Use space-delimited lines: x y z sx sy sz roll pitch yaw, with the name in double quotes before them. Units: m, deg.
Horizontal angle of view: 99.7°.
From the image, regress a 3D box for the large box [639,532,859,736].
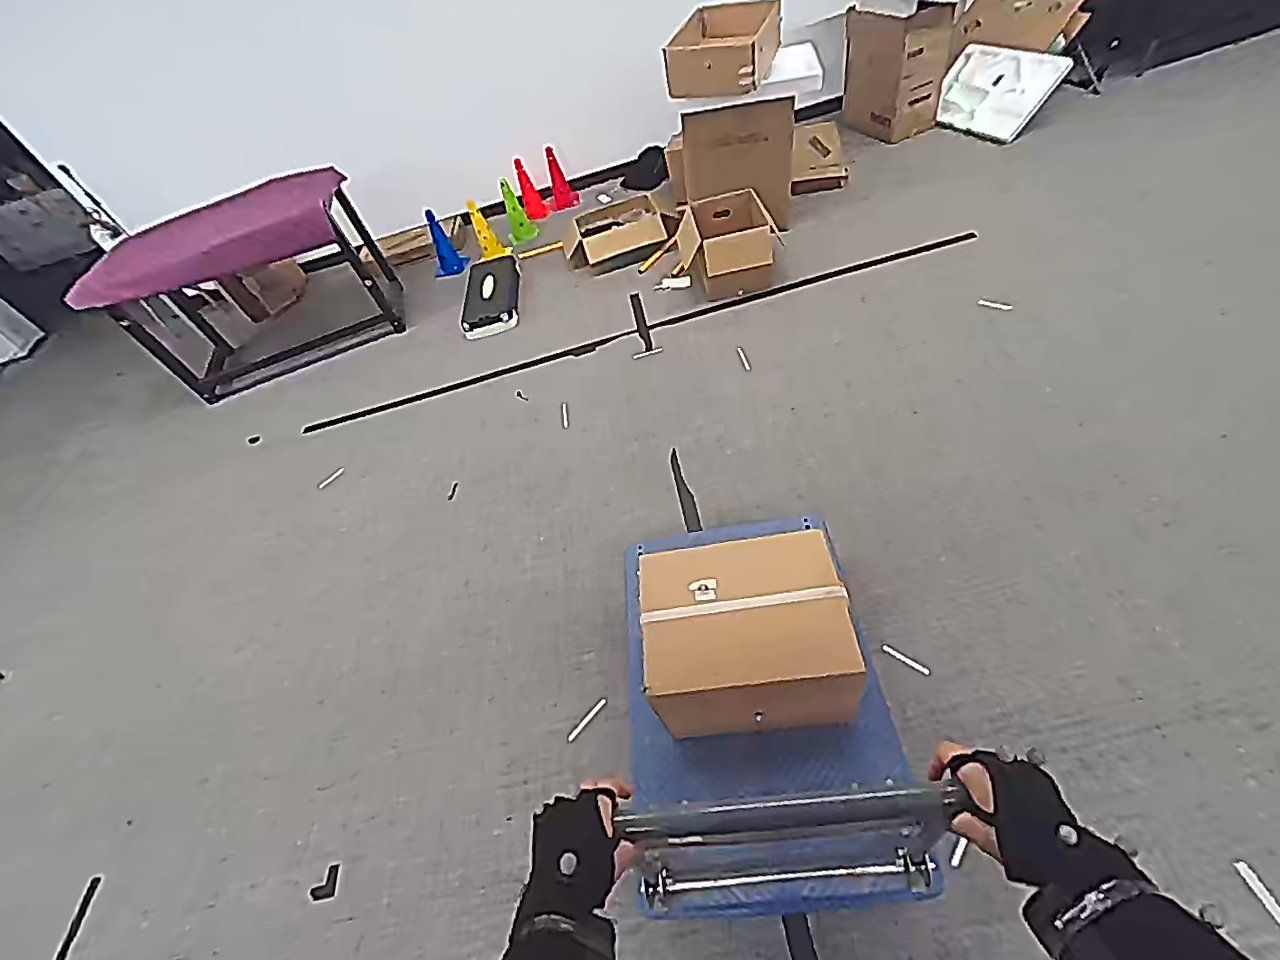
"large box" 0.233 0.356 1.213 0.408 0.320 0.320 -10 48 9
